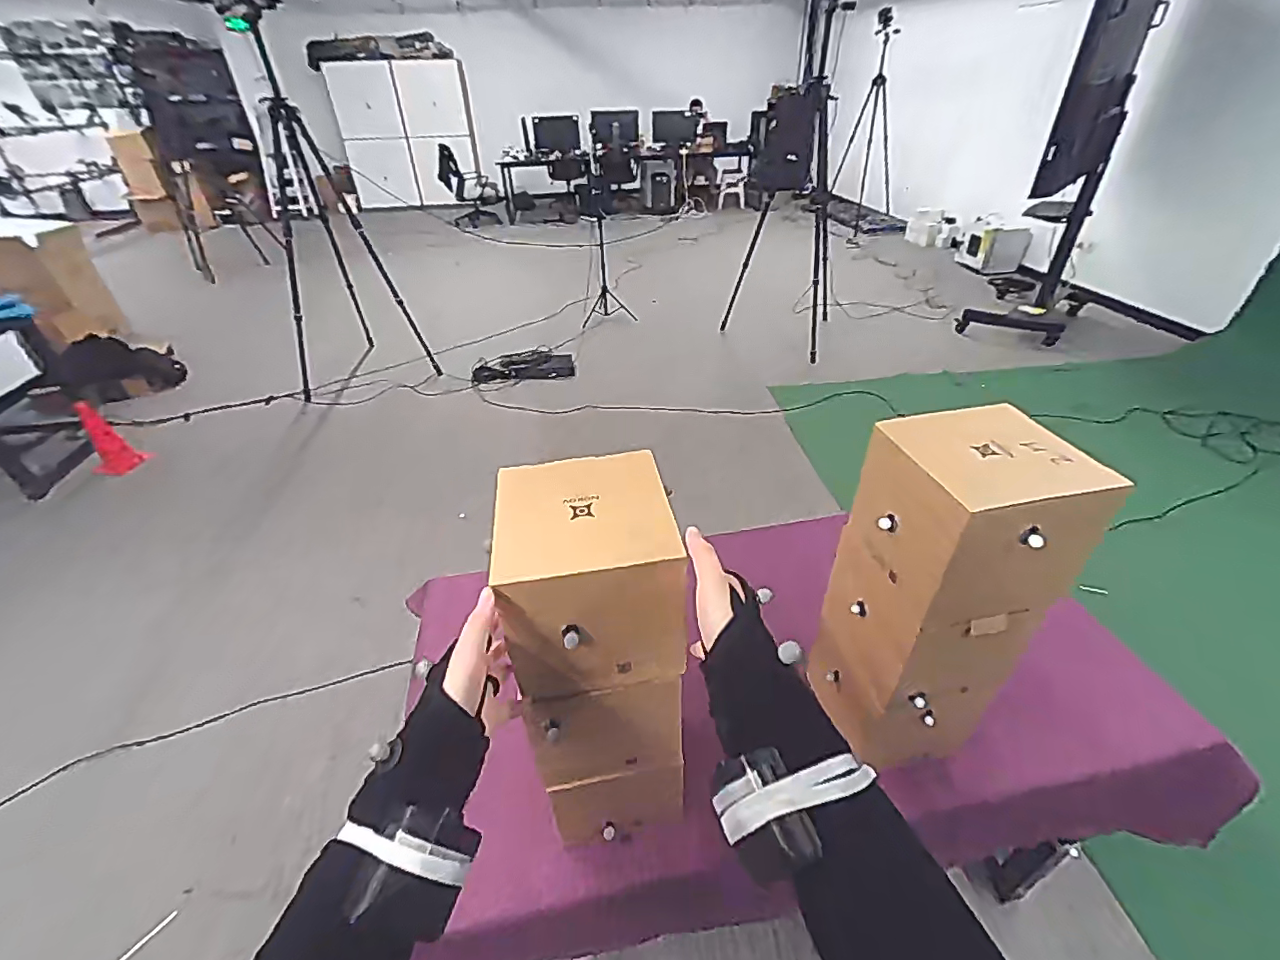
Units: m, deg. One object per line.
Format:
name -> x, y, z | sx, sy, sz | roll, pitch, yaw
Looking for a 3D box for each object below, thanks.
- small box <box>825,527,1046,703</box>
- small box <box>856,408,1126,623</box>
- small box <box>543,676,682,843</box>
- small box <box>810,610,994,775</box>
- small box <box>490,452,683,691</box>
small box -> 0.366, 0.169, 0.710 | 0.168, 0.176, 0.179 | -8, 36, -8
small box -> 0.364, 0.039, 0.608 | 0.179, 0.176, 0.168 | -8, 38, -8
small box -> -0.041, 0.362, 0.749 | 0.168, 0.176, 0.179 | -8, 38, -7
small box -> 0.370, 0.301, 0.807 | 0.168, 0.176, 0.179 | -9, 36, -7
small box -> -0.051, 0.095, 0.559 | 0.168, 0.176, 0.179 | -8, 35, -7
